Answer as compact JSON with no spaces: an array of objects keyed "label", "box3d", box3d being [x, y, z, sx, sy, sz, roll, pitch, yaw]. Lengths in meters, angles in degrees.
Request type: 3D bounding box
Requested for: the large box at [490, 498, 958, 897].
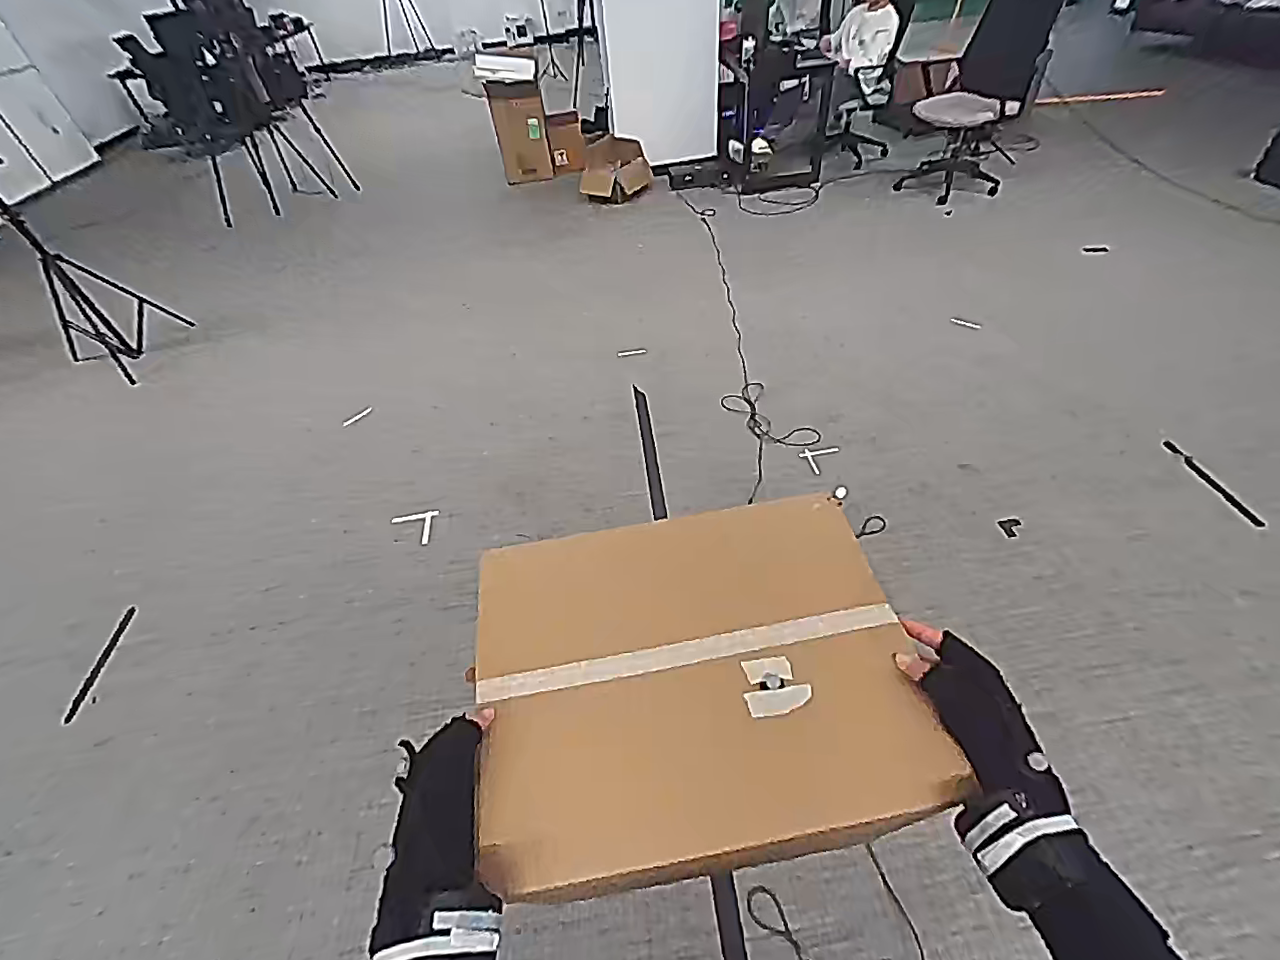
[{"label":"large box","box3d":[0.058,0.264,0.649,0.408,0.320,0.320,-10,52,-3]}]
